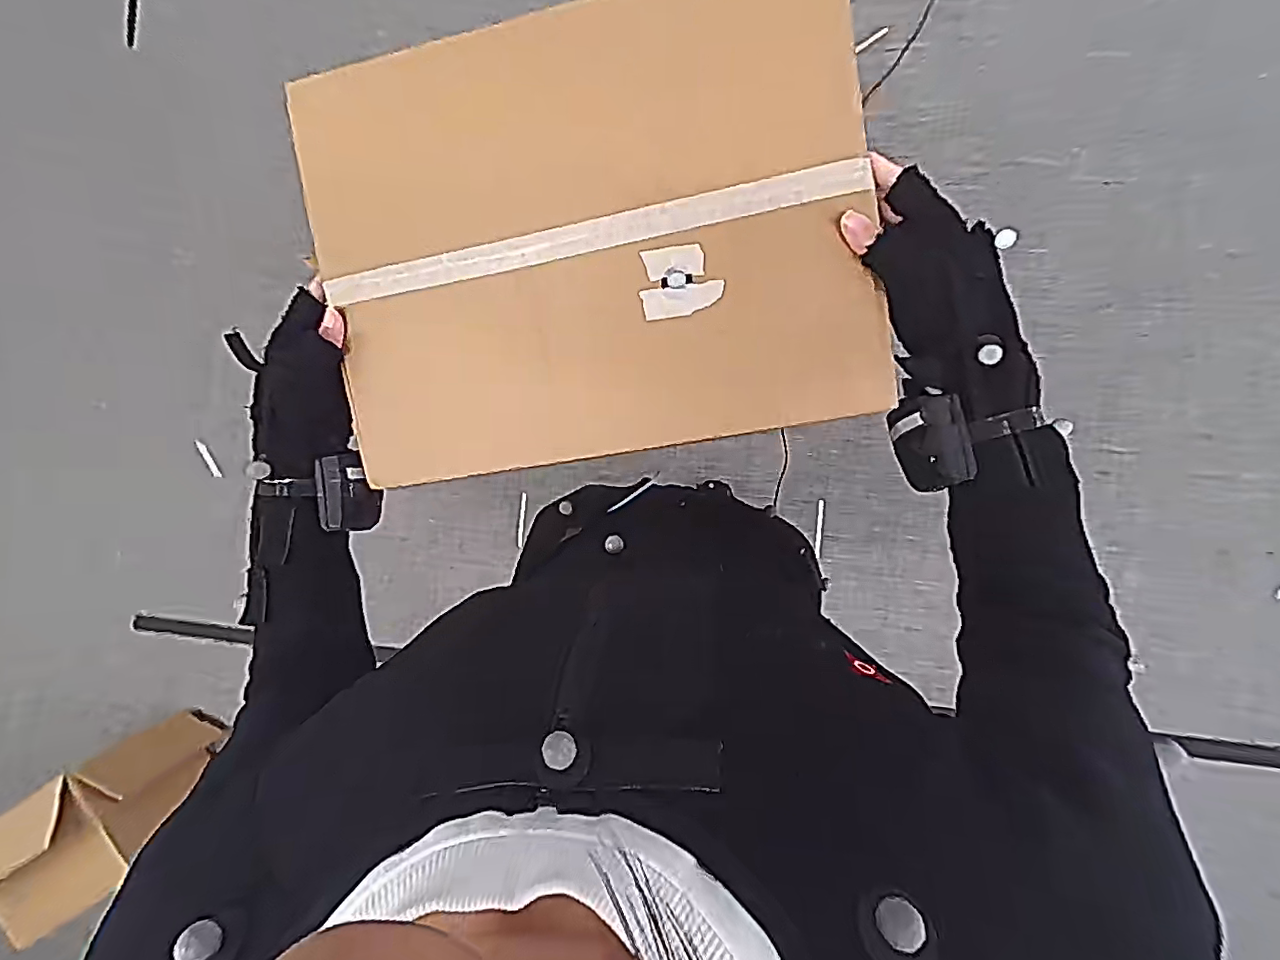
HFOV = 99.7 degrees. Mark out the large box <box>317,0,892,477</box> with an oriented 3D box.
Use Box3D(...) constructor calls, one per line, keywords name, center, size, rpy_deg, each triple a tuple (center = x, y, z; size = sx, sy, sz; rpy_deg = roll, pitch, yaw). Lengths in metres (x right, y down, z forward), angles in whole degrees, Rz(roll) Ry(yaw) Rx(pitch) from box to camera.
Box3D(name="large box", center=(-0.019, -0.196, 0.551), size=(0.408, 0.320, 0.320), rpy_deg=(-8, 96, 8))
